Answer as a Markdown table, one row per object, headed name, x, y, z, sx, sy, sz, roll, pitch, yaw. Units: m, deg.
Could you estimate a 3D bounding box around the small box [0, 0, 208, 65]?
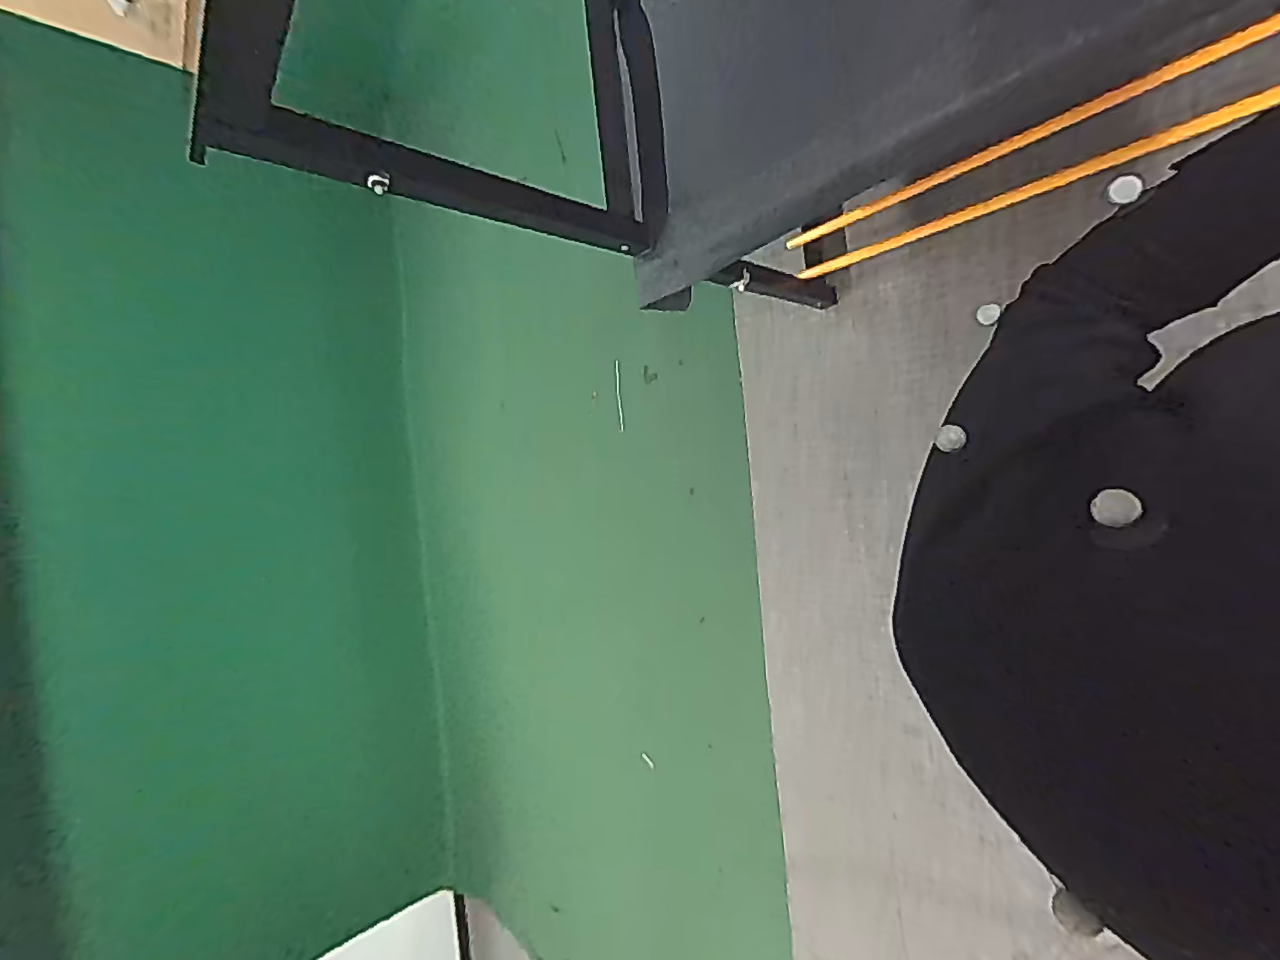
| name | x | y | z | sx | sy | sz | roll | pitch | yaw |
| --- | --- | --- | --- | --- | --- | --- | --- | --- | --- |
| small box | -0.522 | -0.550 | 0.506 | 0.168 | 0.176 | 0.179 | -8 | 90 | 48 |
